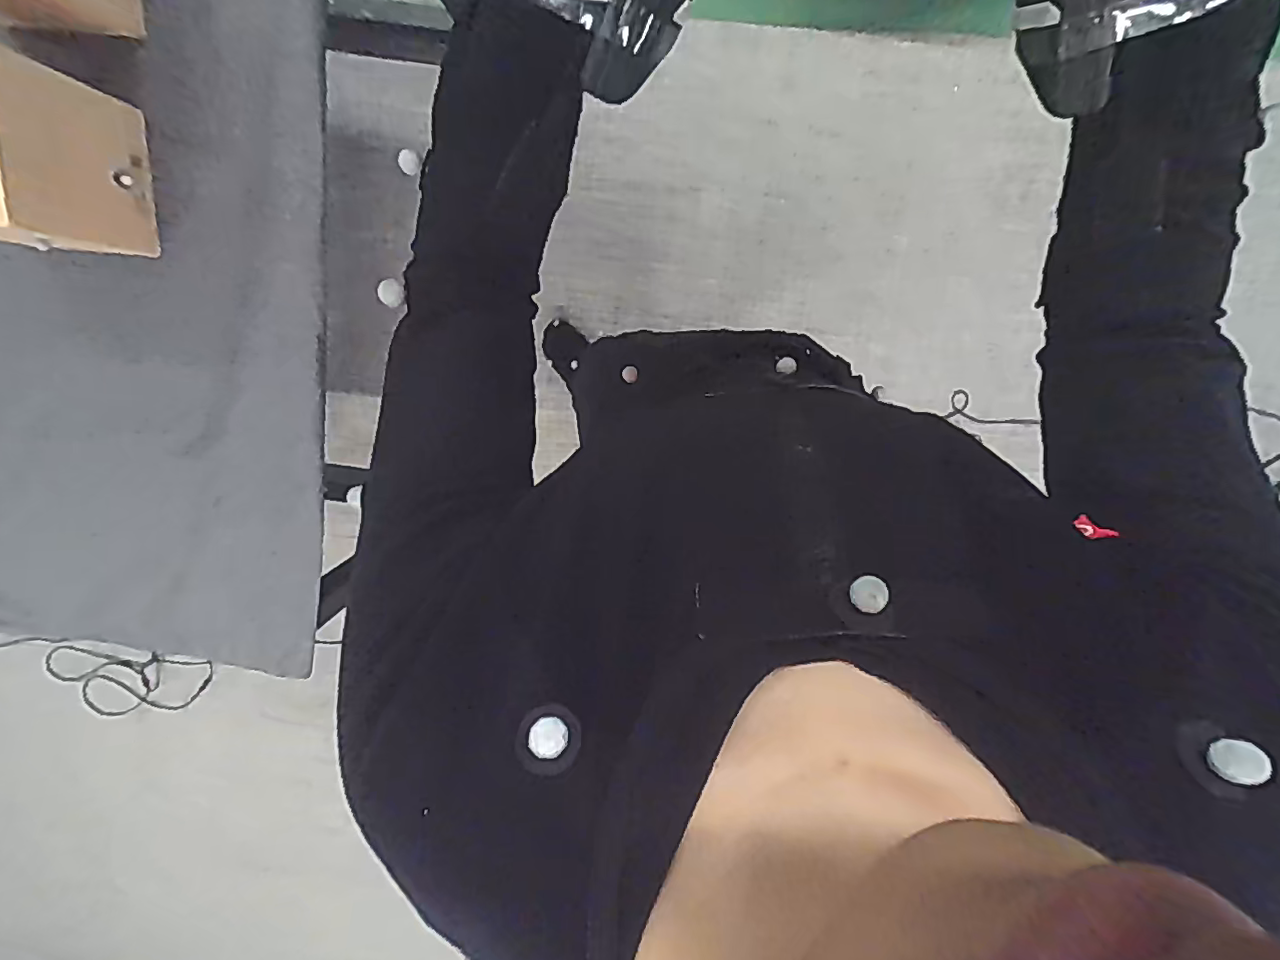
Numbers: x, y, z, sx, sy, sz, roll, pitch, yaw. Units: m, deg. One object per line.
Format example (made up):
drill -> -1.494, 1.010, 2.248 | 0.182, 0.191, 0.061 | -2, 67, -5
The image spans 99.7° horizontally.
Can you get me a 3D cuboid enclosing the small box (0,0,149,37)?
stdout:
small box -> -0.655, -0.584, 0.539 | 0.179, 0.176, 0.168 | 6, 104, 1
